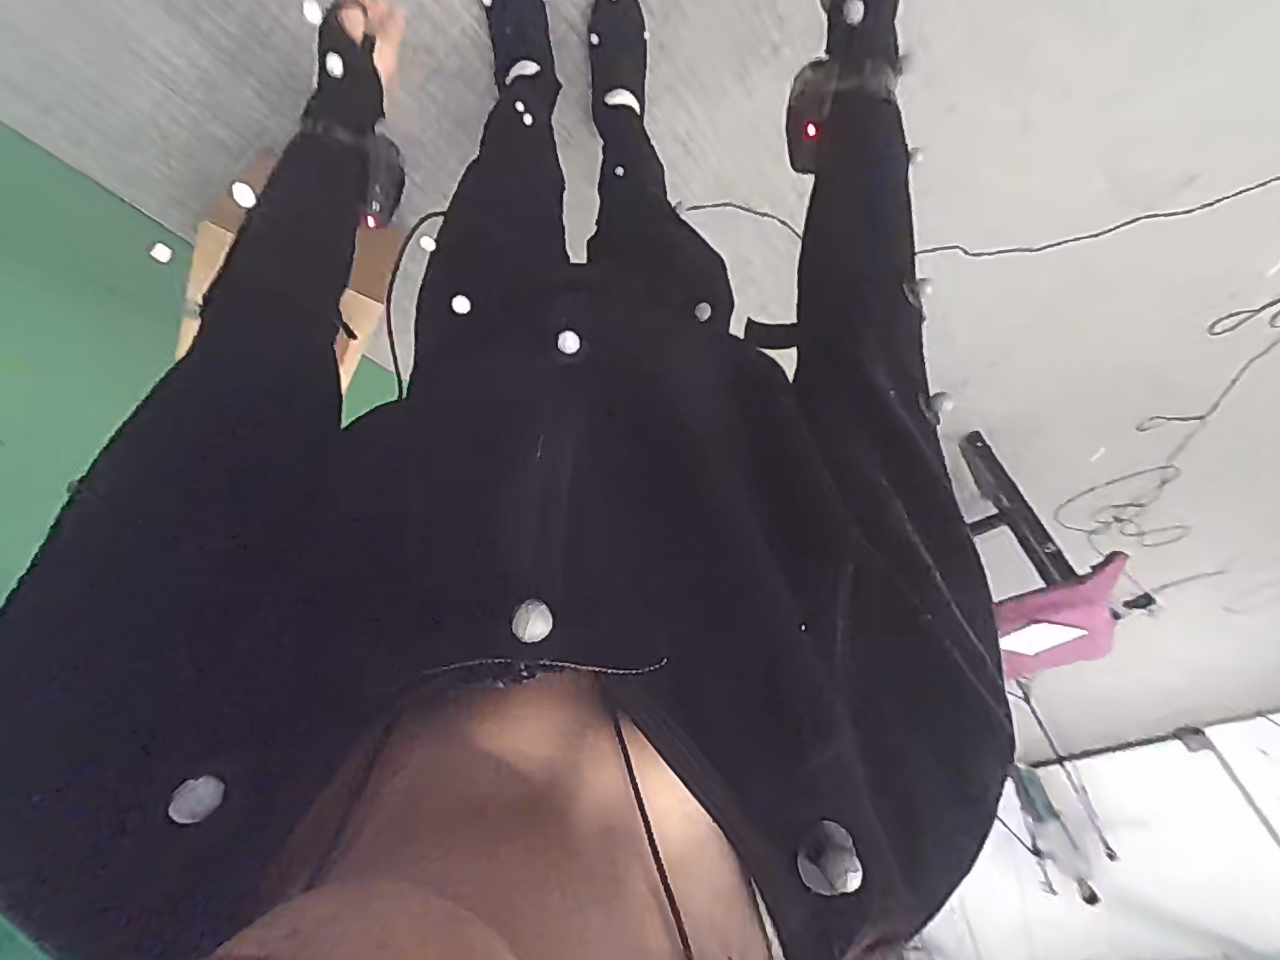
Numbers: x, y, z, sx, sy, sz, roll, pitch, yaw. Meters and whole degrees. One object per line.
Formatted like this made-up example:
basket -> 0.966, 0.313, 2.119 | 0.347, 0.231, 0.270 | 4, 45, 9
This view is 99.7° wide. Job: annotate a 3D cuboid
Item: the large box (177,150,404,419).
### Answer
large box -> -0.770, -0.417, 1.214 | 0.320, 0.320, 0.408 | 23, 133, -31
